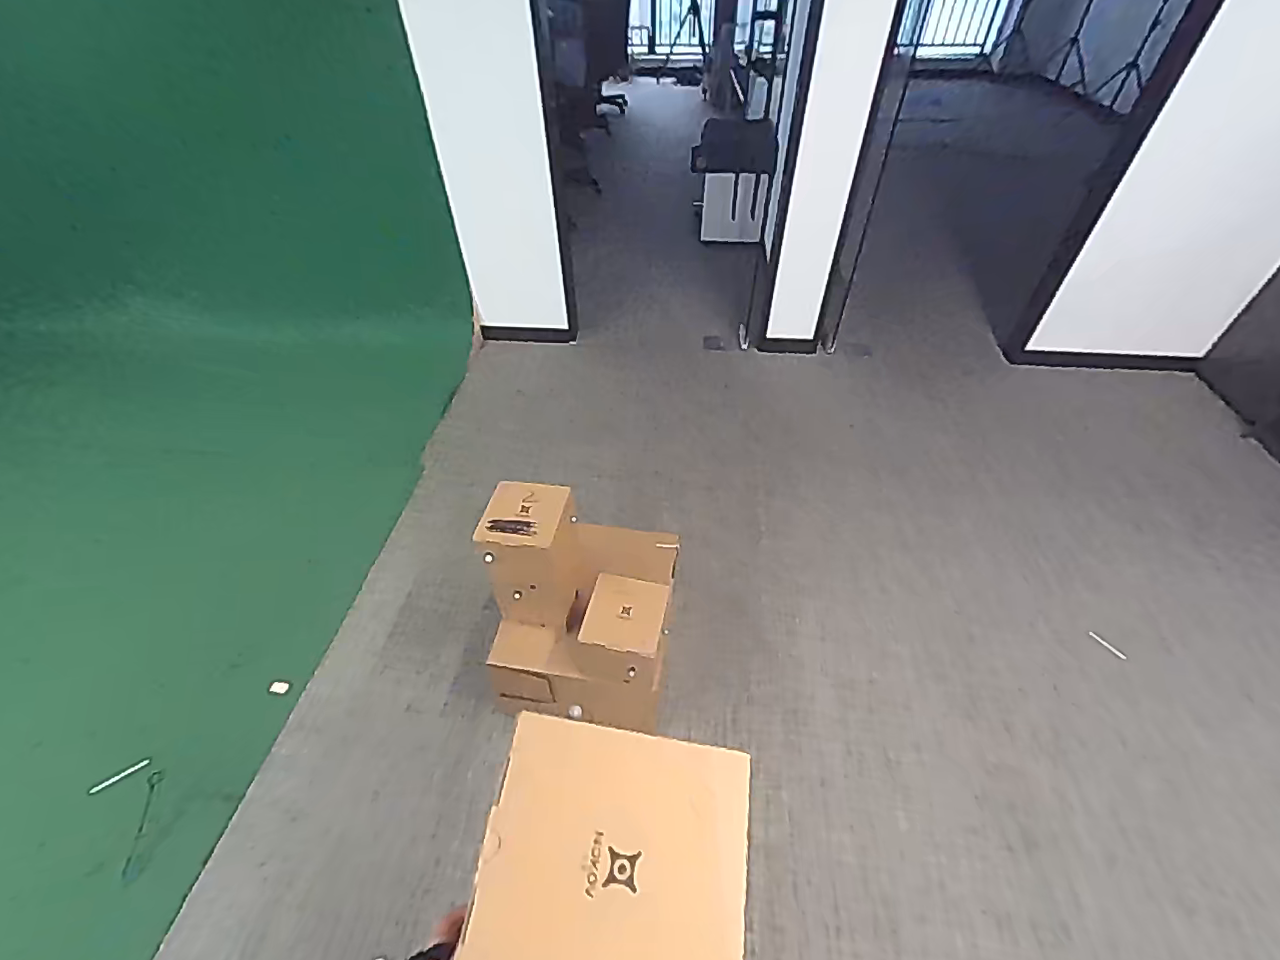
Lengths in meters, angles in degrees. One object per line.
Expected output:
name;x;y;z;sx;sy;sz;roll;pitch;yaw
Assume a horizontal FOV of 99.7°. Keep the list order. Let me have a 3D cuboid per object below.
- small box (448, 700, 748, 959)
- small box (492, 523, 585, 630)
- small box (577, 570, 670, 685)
small box;-0.025;0.285;0.424;0.179;0.176;0.168;10;59;1
small box;-0.235;0.233;1.310;0.168;0.176;0.179;8;45;10
small box;-0.031;0.333;1.208;0.168;0.176;0.179;10;45;8
